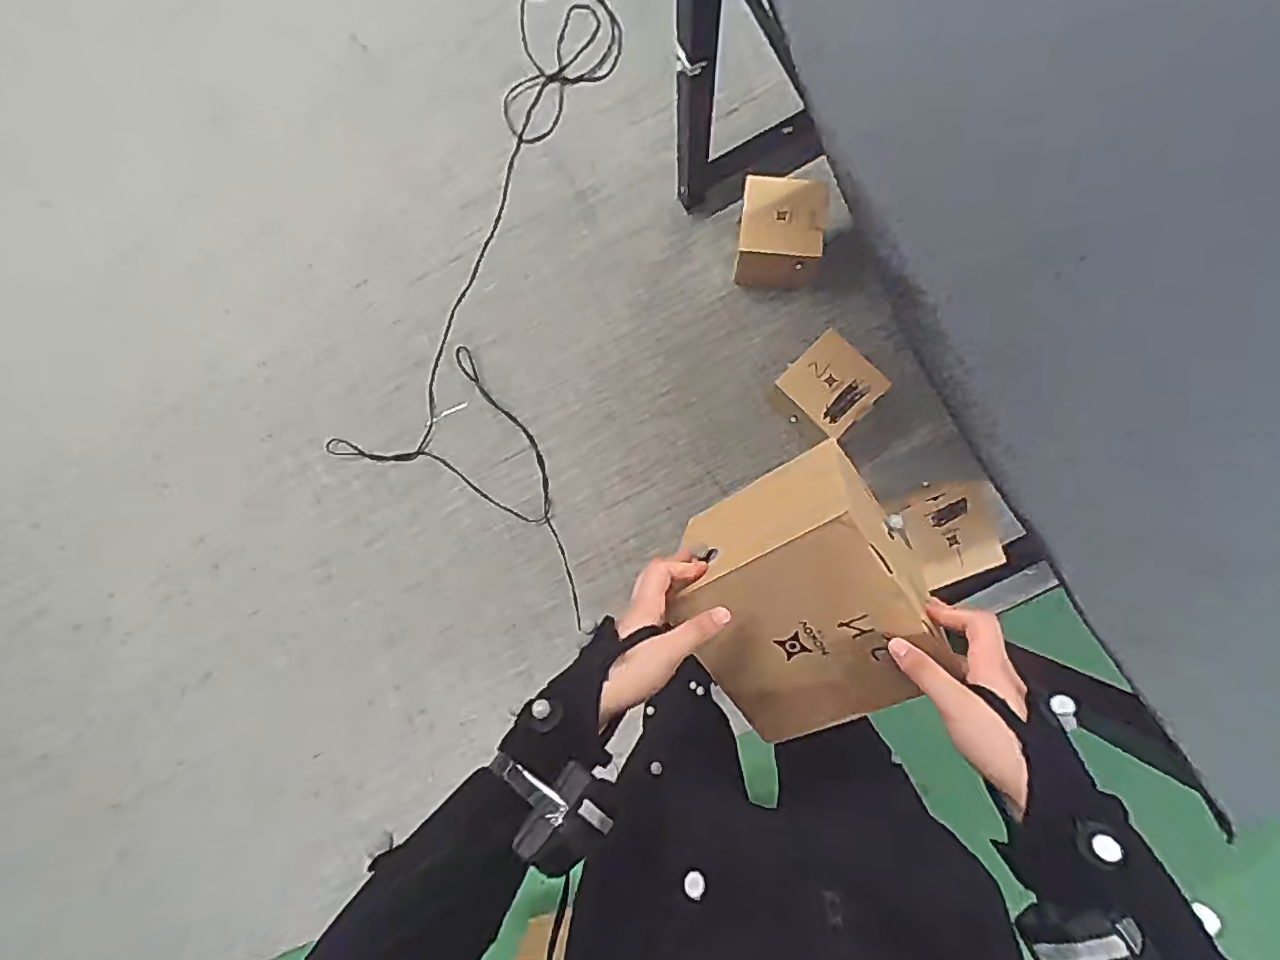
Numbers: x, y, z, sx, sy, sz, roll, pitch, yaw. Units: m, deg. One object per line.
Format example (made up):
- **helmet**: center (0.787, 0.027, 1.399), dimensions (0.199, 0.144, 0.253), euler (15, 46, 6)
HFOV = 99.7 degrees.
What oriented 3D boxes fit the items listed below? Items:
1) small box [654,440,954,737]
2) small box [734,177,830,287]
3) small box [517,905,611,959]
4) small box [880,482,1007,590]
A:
- **small box**: center (0.143, 0.090, 0.494), dimensions (0.179, 0.176, 0.168), euler (-33, 100, 25)
- **small box**: center (0.309, -0.547, 1.211), dimensions (0.179, 0.176, 0.168), euler (6, 88, 4)
- **small box**: center (-0.165, 1.074, 1.173), dimensions (0.179, 0.176, 0.168), euler (-18, 85, 5)
- **small box**: center (0.627, 0.115, 1.156), dimensions (0.168, 0.176, 0.179), euler (-21, 87, 3)
